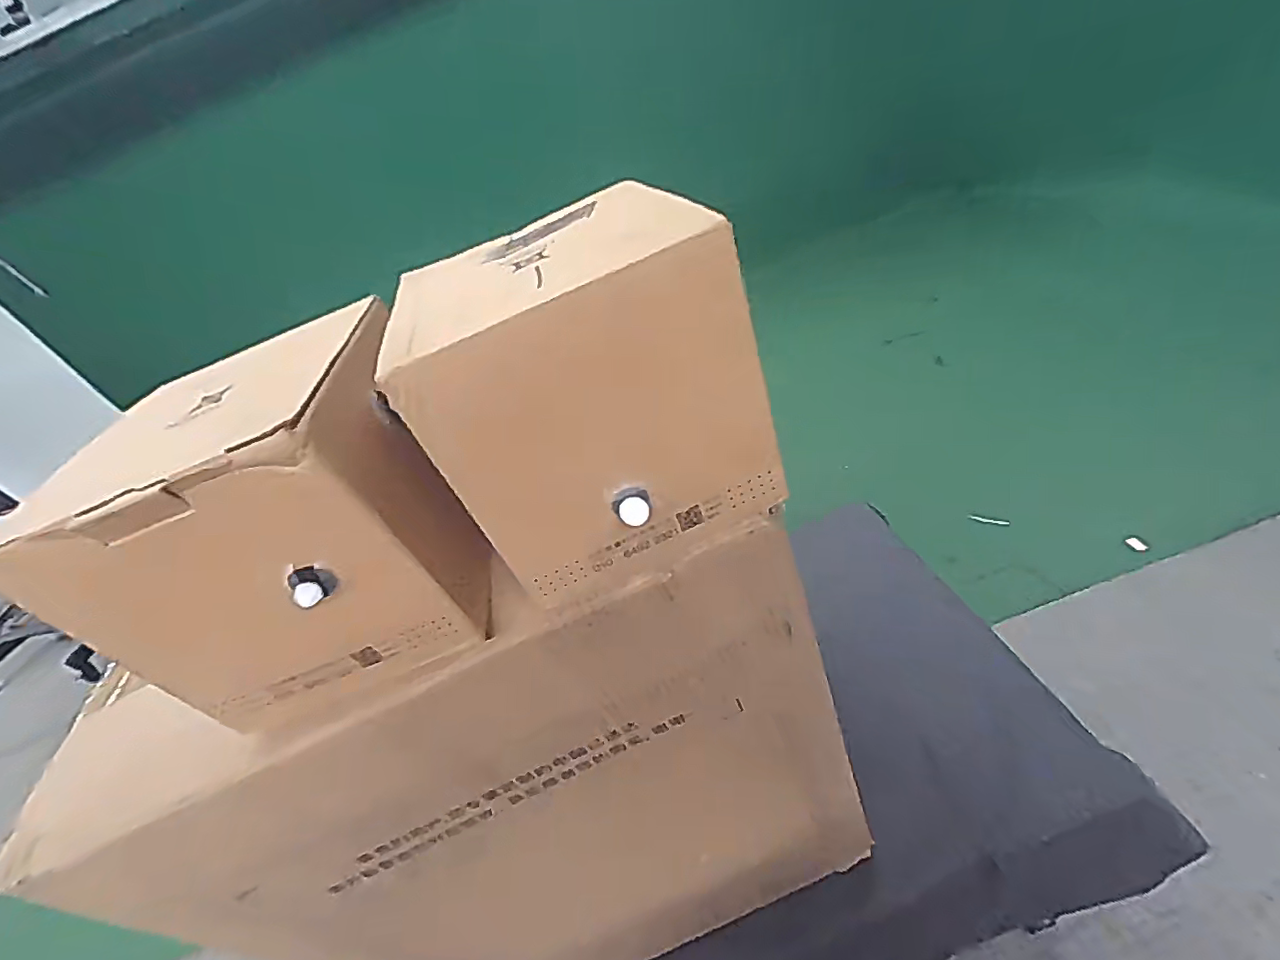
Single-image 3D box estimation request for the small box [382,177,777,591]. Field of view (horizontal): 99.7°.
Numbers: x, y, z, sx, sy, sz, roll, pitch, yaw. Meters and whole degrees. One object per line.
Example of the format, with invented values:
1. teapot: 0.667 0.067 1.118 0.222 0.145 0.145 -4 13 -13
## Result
1. small box: -0.031 -0.065 0.344 0.168 0.176 0.179 -24 39 -1
